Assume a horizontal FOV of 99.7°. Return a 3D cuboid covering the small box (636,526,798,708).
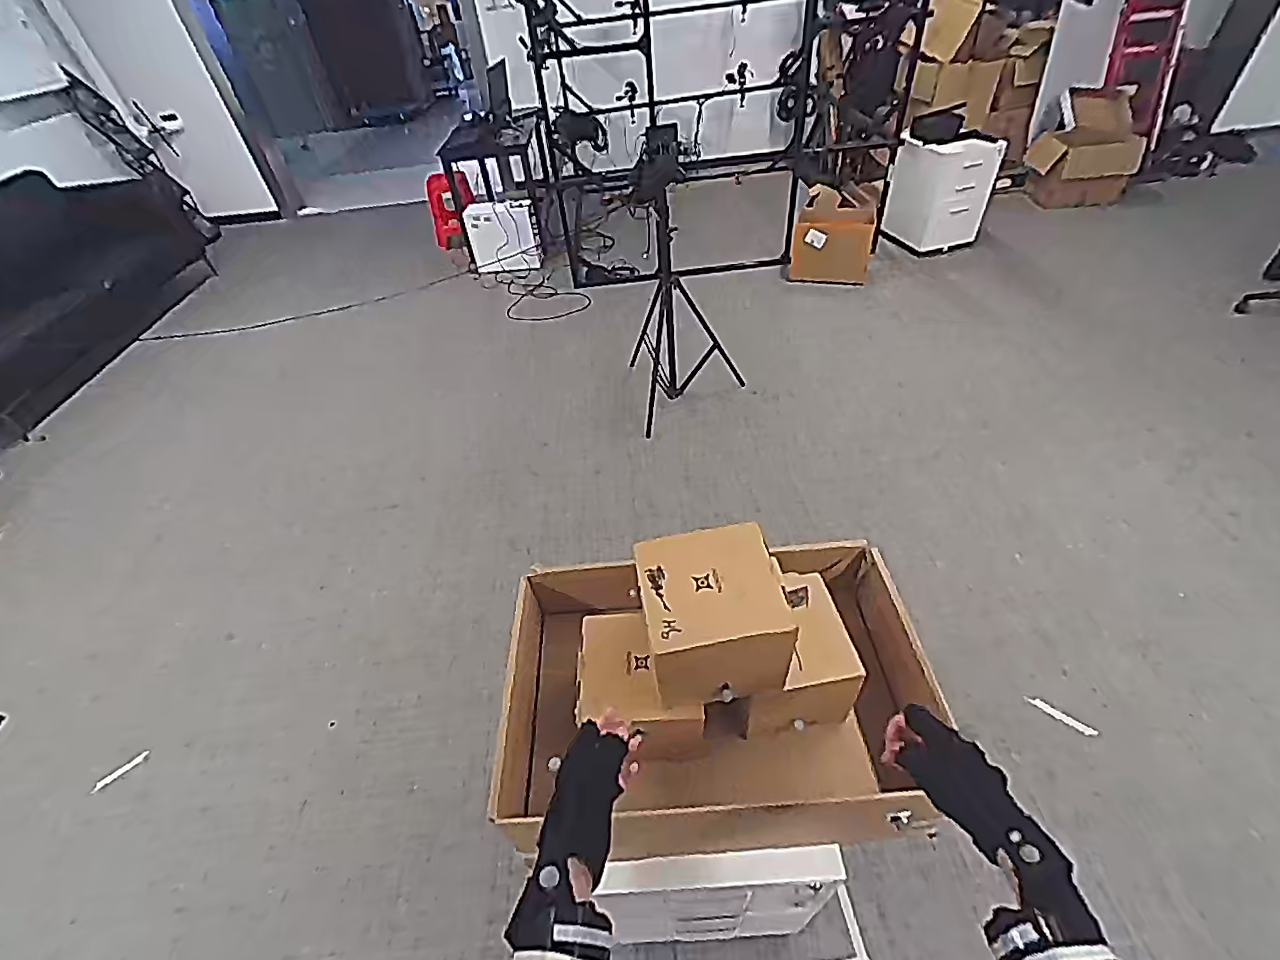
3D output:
[{"bbox_3d":[0.094,0.187,0.736,0.179,0.176,0.168,-9,45,-3],"label":"small box"}]
